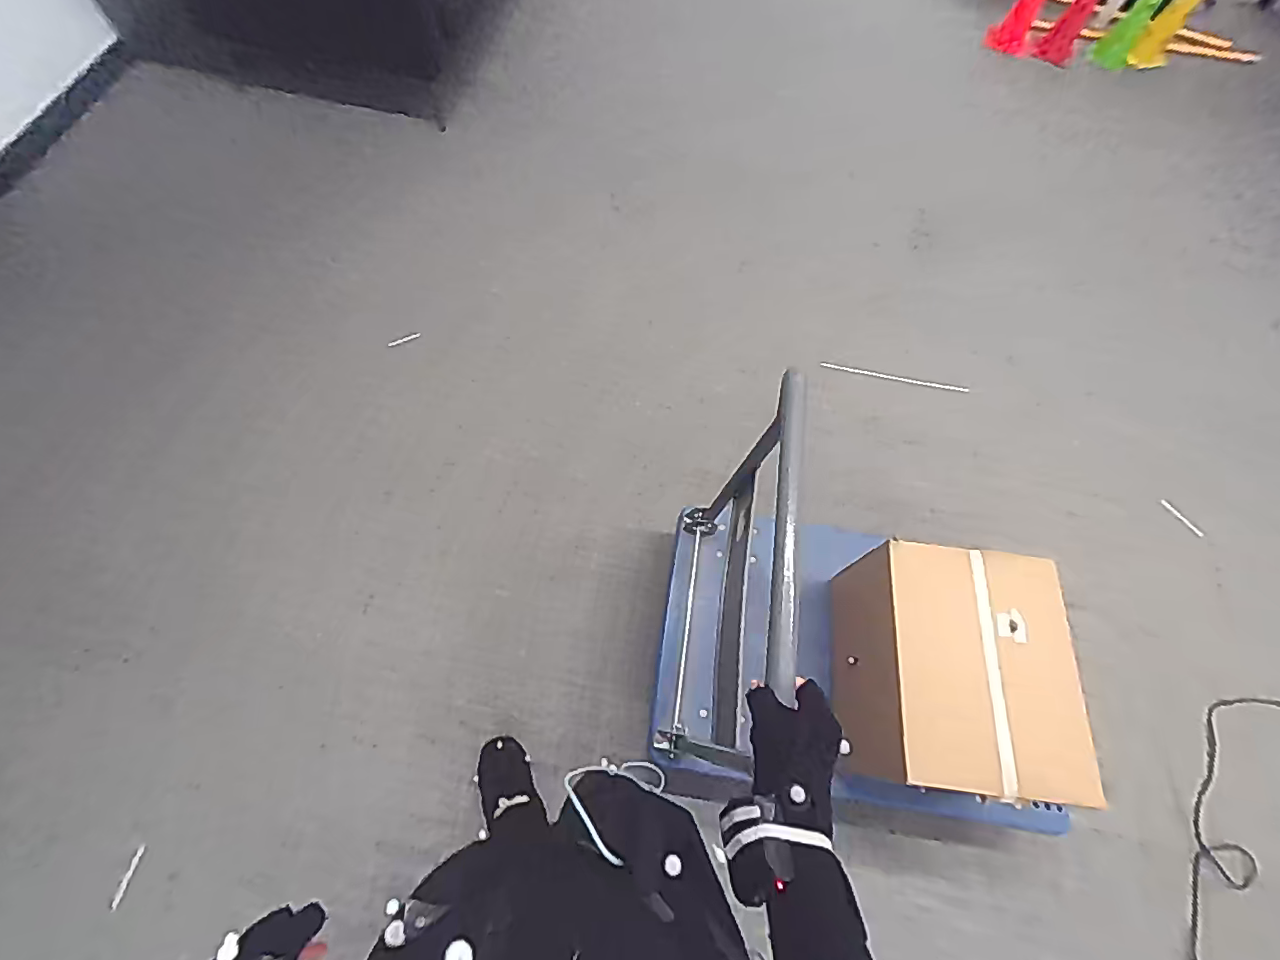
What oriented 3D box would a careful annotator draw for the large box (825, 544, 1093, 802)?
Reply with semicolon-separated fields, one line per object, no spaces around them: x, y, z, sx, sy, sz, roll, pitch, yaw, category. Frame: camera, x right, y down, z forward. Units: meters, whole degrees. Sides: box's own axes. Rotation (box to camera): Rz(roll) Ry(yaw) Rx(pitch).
0.575;0.380;1.067;0.320;0.320;0.408;8;64;0;large box
